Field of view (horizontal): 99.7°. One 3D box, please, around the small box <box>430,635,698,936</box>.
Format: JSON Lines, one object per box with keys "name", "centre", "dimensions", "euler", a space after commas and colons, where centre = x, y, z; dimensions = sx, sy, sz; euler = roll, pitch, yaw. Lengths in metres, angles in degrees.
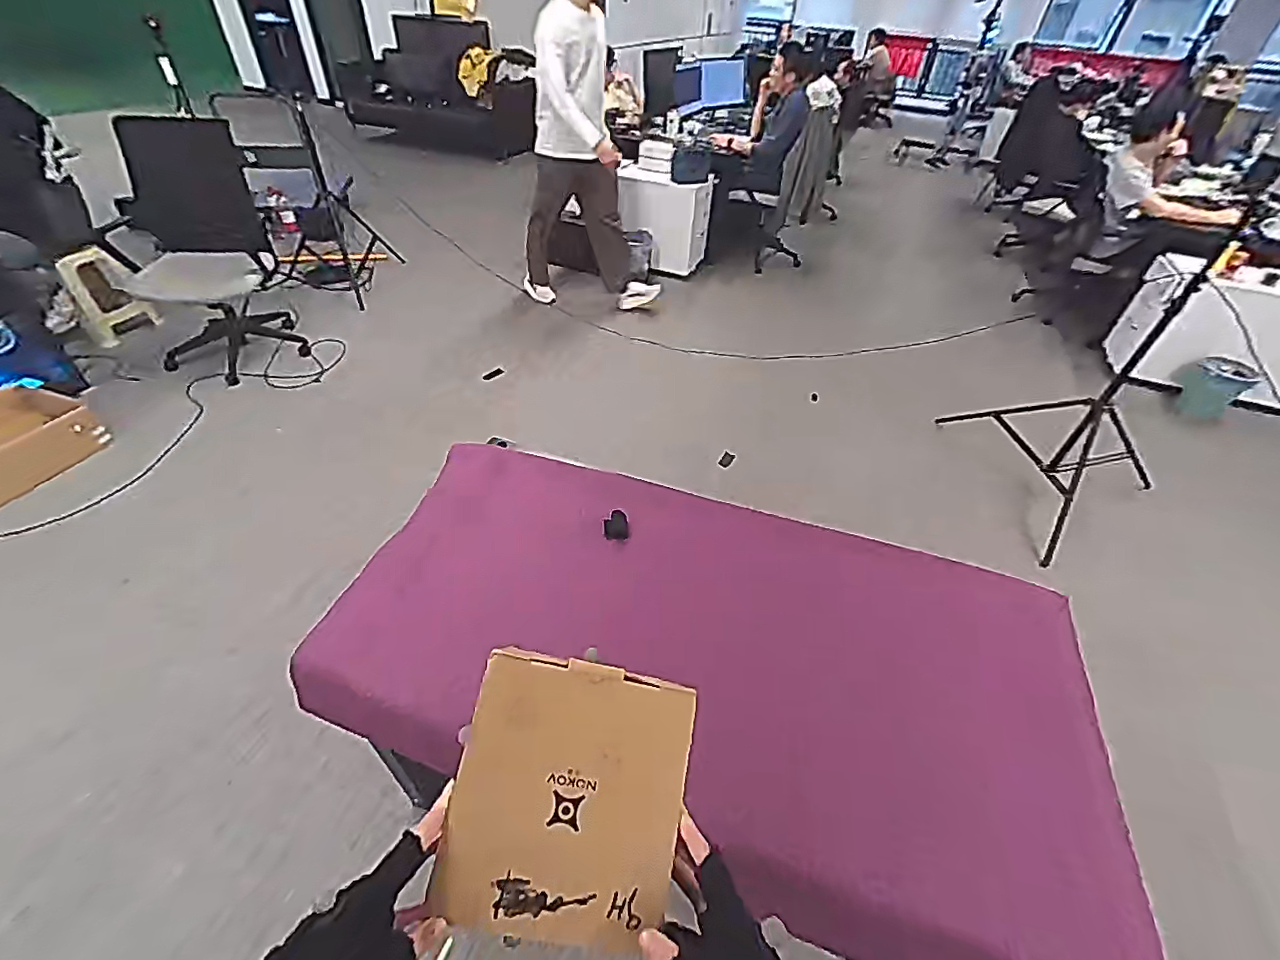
{"name": "small box", "centre": [-0.061, 0.242, 0.470], "dimensions": [0.168, 0.176, 0.179], "euler": [14, 71, -5]}
